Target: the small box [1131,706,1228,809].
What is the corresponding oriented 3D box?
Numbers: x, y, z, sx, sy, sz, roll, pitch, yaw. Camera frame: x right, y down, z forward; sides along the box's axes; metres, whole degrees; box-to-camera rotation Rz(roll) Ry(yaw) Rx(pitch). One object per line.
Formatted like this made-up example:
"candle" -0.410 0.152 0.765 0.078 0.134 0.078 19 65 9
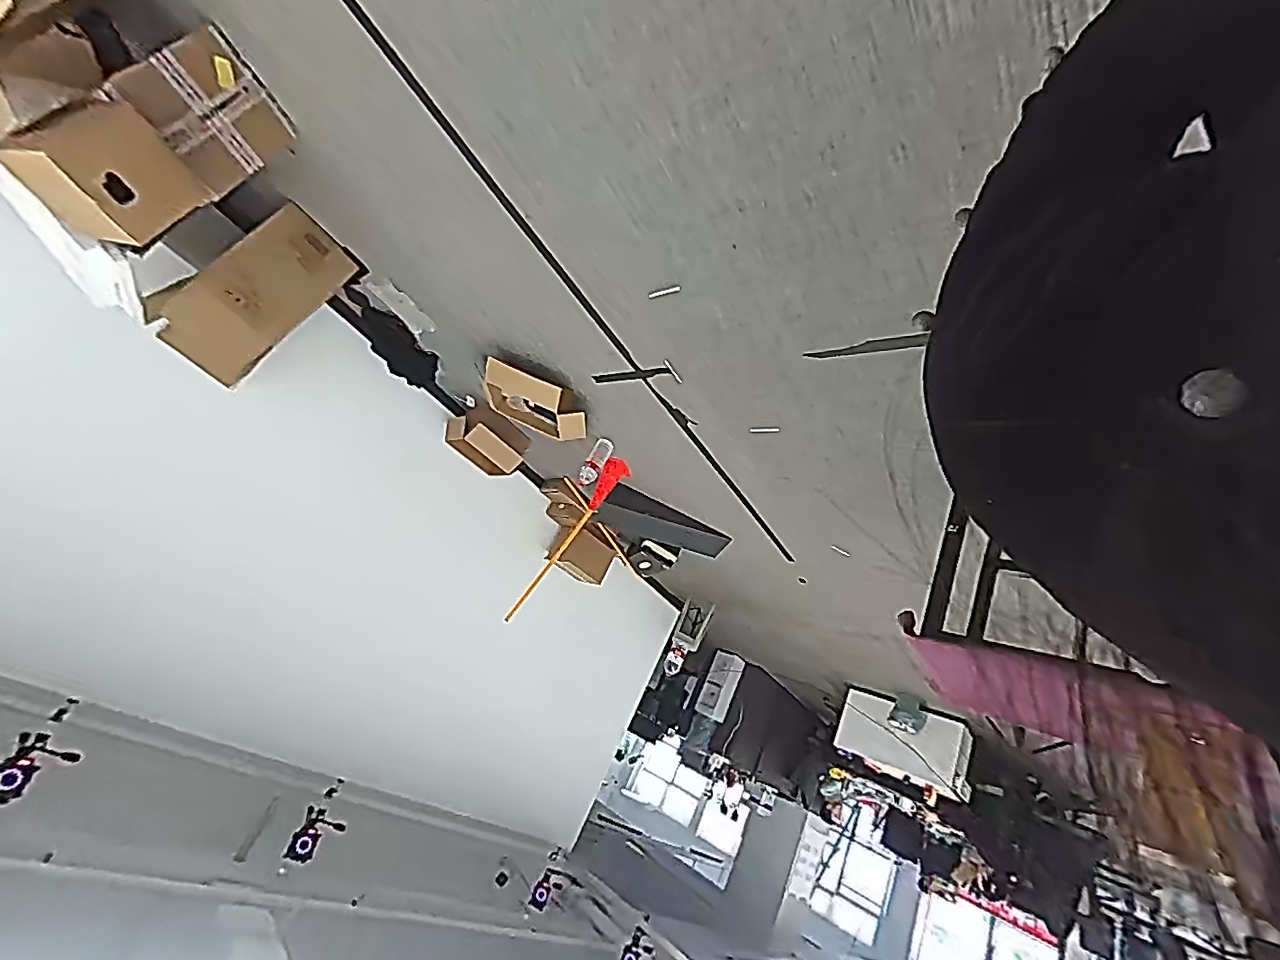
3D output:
"small box" 1.403 0.720 1.412 0.168 0.176 0.179 4 147 42
